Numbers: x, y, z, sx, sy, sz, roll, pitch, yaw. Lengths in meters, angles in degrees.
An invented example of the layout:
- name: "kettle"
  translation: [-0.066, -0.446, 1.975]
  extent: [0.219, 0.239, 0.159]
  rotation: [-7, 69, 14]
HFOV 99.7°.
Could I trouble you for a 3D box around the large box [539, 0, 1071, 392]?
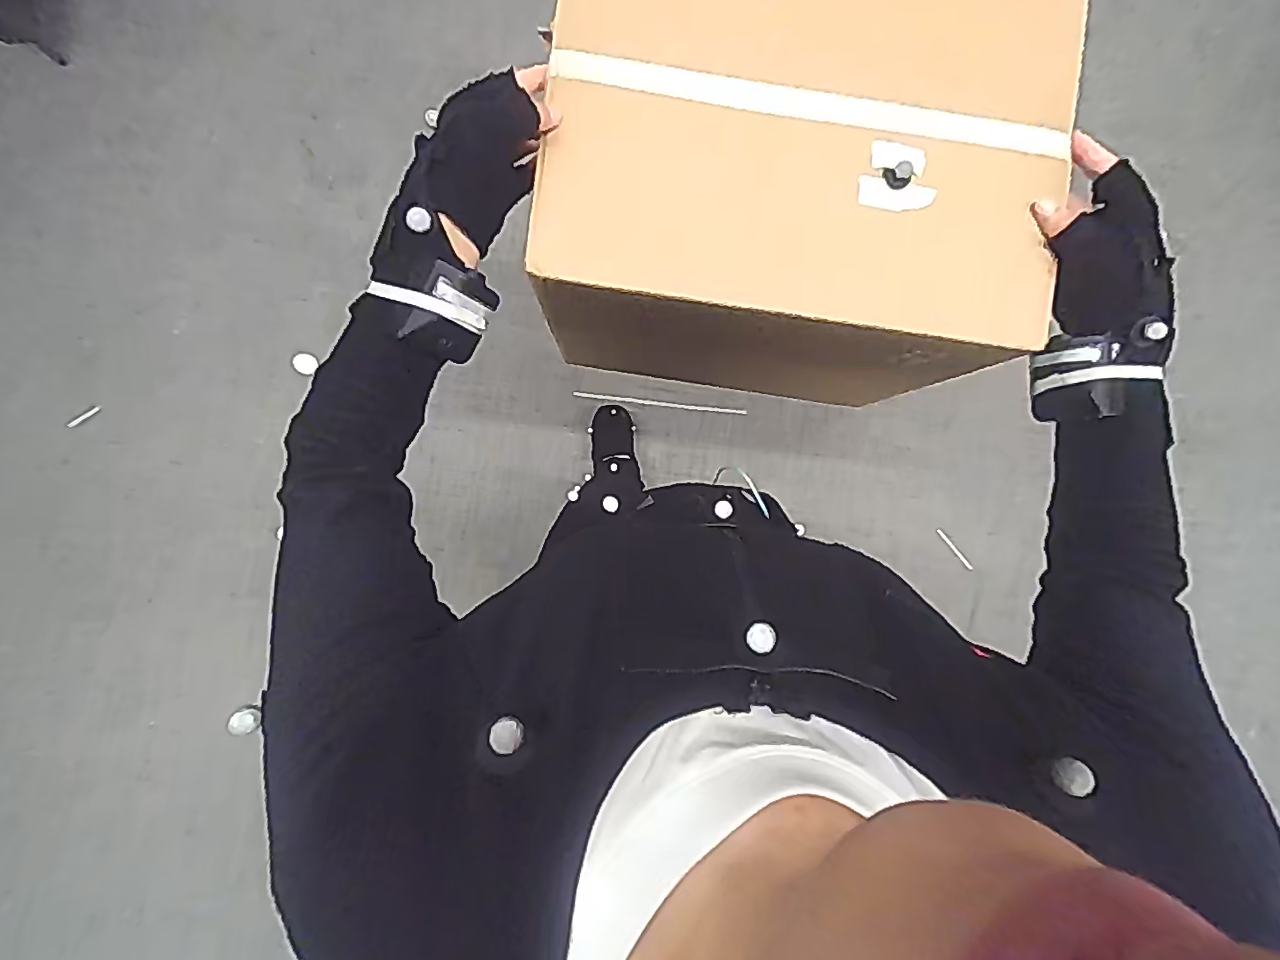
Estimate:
- name: "large box"
  translation: [0.126, -0.290, 0.571]
  extent: [0.408, 0.320, 0.320]
  rotation: [7, 90, -2]
